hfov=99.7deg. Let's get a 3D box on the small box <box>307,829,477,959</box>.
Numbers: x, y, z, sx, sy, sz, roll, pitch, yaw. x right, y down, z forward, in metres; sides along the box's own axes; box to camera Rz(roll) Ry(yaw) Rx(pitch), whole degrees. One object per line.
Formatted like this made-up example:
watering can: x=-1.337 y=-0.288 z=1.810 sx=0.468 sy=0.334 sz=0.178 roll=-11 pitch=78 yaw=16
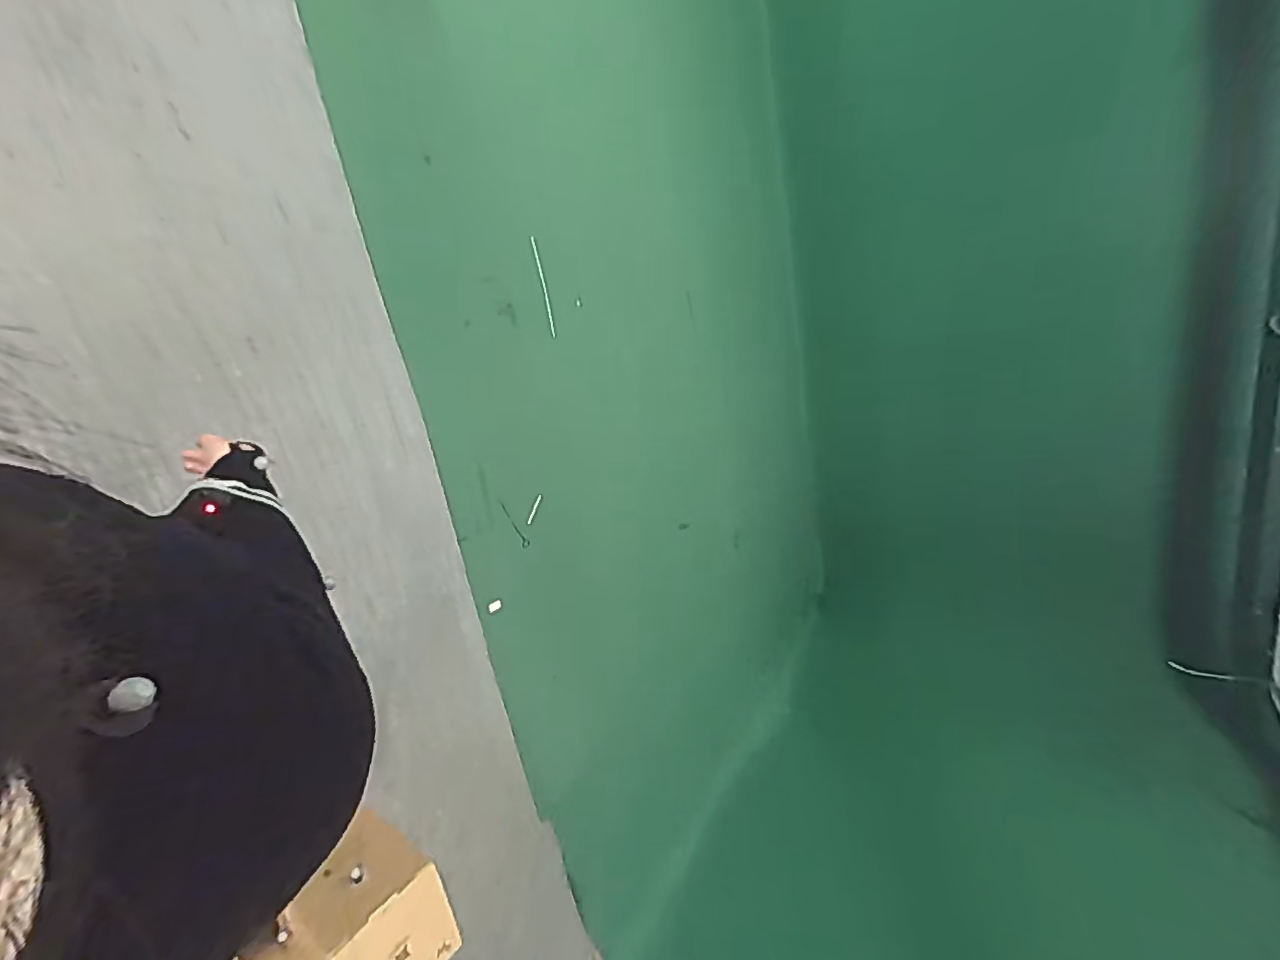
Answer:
small box: x=-0.398 y=0.702 z=0.867 sx=0.168 sy=0.176 sz=0.179 roll=-27 pitch=109 yaw=-47
